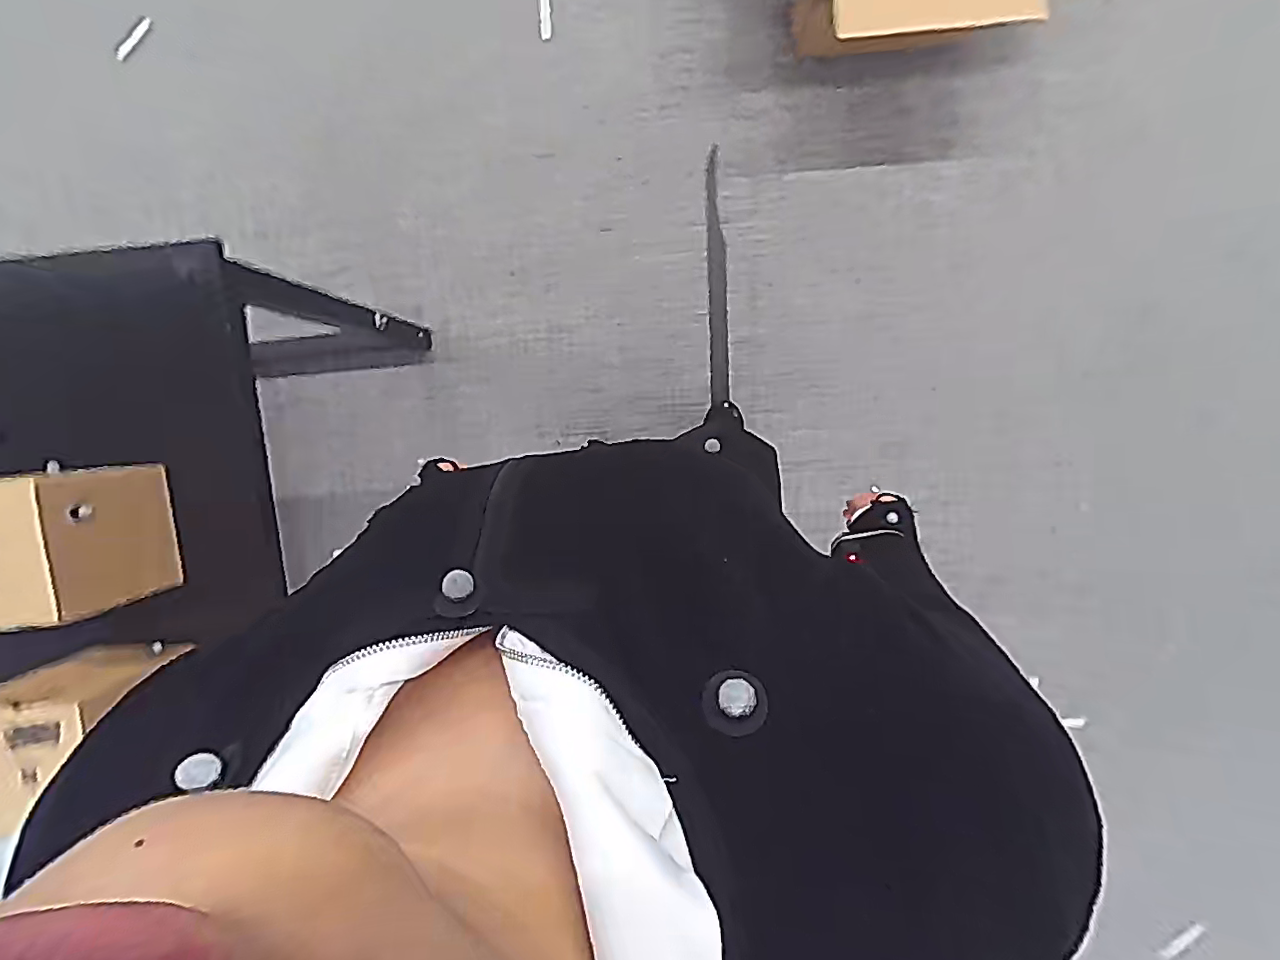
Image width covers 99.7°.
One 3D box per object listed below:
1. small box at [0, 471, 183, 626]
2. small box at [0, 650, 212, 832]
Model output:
[{"bbox_3d":[-0.767,0.081,0.721,0.168,0.176,0.179,-5,96,4],"label":"small box"},{"bbox_3d":[-0.748,0.348,0.753,0.168,0.176,0.179,-3,97,3],"label":"small box"}]
